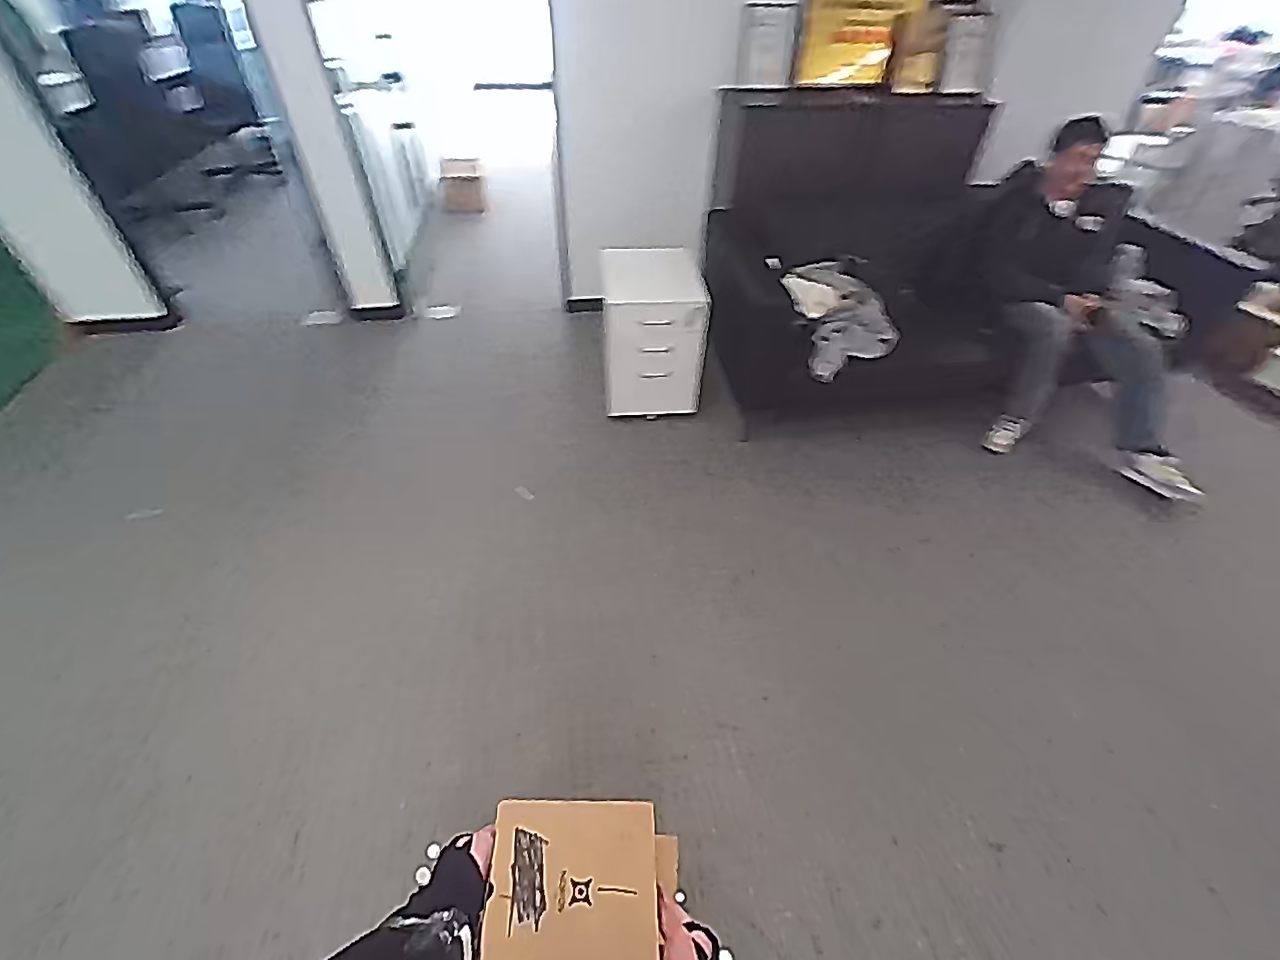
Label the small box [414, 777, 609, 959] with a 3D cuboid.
[{"bbox_3d":[-0.140,0.457,0.587,0.179,0.176,0.168,-3,2,-27],"label":"small box"}]

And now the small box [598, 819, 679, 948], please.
[{"bbox_3d":[-0.013,0.812,1.086,0.168,0.176,0.179,6,43,1],"label":"small box"}]

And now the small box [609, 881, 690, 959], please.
[{"bbox_3d":[-0.011,0.921,1.196,0.168,0.176,0.179,-20,47,-23],"label":"small box"}]
